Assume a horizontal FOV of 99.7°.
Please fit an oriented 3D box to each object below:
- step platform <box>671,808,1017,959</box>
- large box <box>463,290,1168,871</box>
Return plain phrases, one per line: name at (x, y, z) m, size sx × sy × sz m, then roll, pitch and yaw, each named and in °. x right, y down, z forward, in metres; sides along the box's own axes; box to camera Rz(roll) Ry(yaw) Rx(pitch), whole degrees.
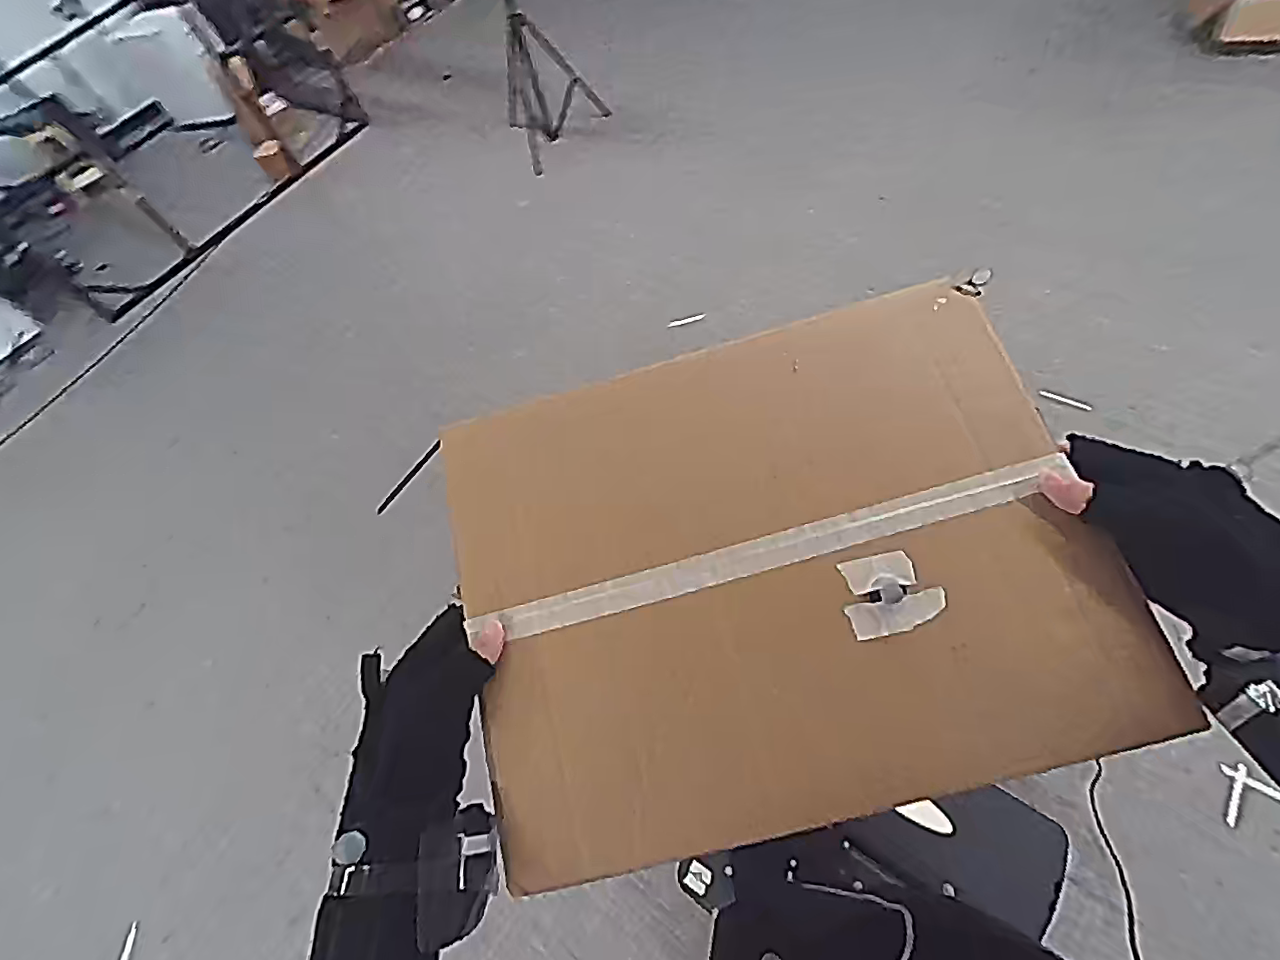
step platform at (0.406, 0.921, 1.155) m, size 0.684 × 0.204 × 0.286 m, roll 25°, pitch 69°, yaw 26°
large box at (0.103, 0.094, 0.513) m, size 0.408 × 0.320 × 0.320 m, roll -16°, pitch 73°, yaw 4°
